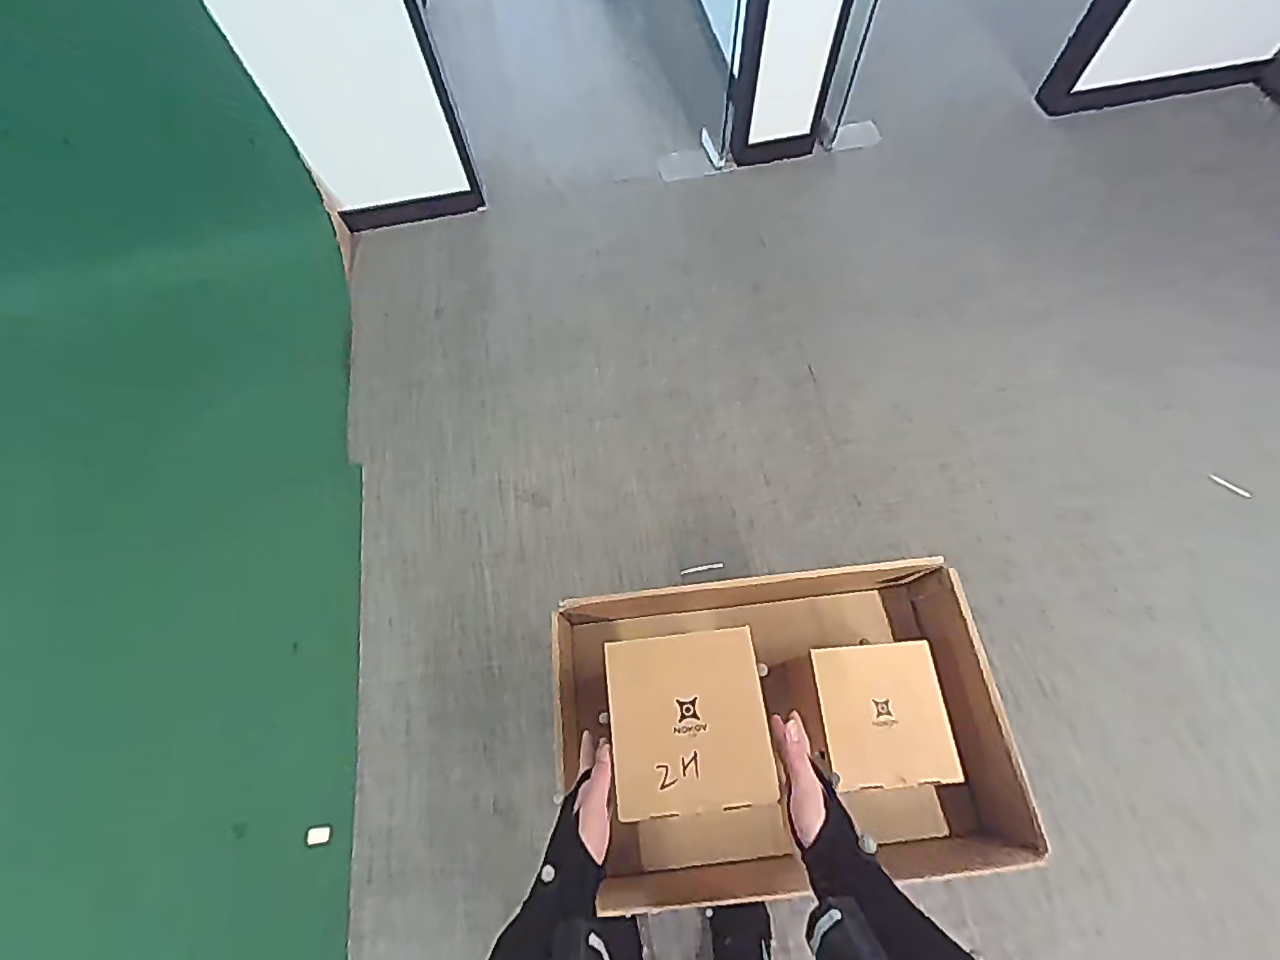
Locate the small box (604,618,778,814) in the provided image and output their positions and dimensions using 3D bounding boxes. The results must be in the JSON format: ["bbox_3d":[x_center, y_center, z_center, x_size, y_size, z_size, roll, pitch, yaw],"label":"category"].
[{"bbox_3d":[0.050,0.272,0.634,0.168,0.176,0.179,-7,67,0],"label":"small box"}]
